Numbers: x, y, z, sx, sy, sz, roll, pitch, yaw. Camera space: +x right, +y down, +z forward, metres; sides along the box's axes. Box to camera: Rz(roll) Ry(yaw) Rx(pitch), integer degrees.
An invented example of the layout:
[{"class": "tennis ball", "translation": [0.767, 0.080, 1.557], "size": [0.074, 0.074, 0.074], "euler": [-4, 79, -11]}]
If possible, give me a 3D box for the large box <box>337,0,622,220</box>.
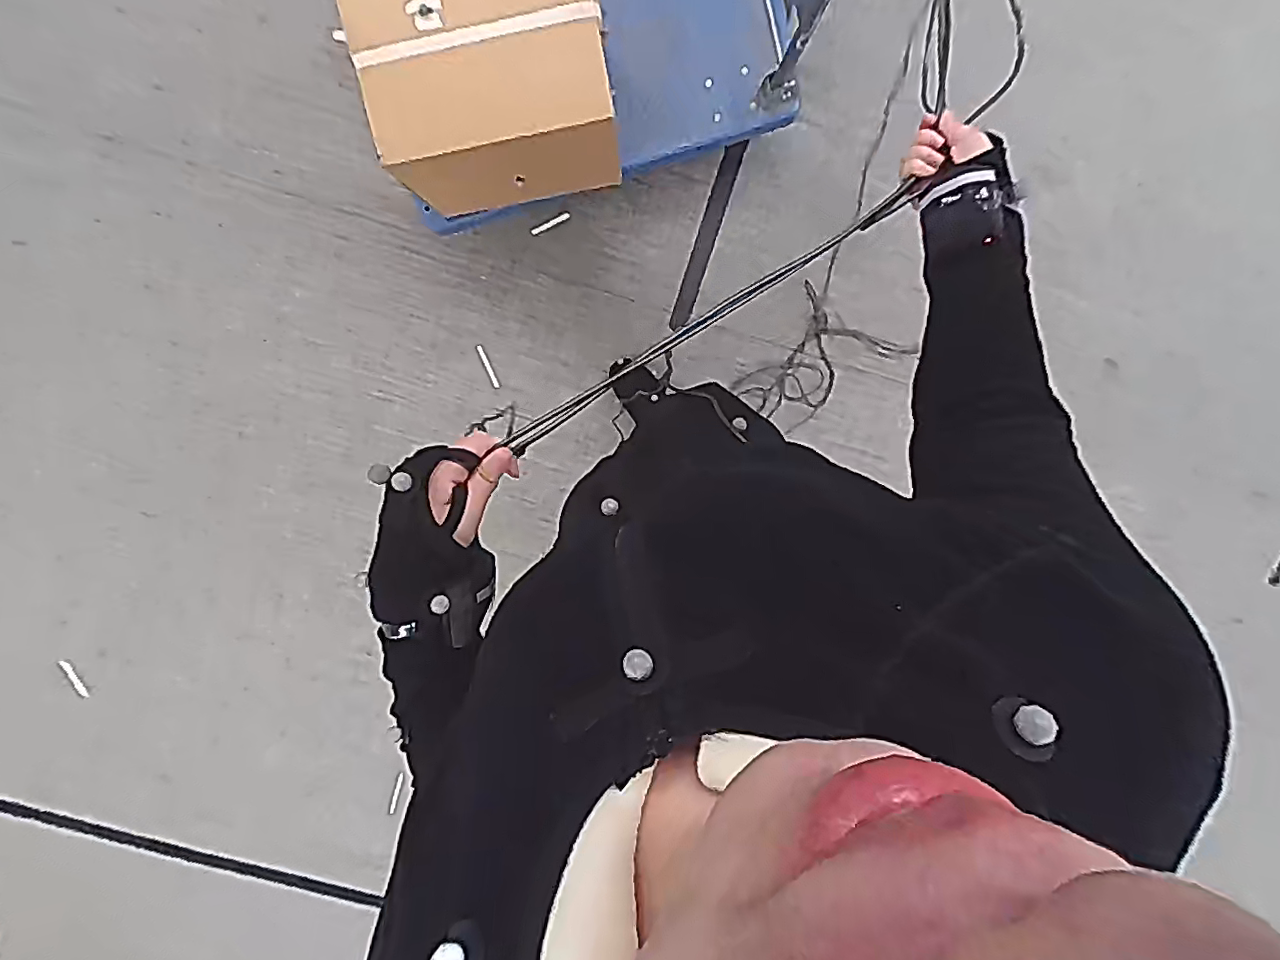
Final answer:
[{"class": "large box", "translation": [-0.264, -0.727, 1.016], "size": [0.408, 0.320, 0.320], "euler": [-11, 100, 3]}]
